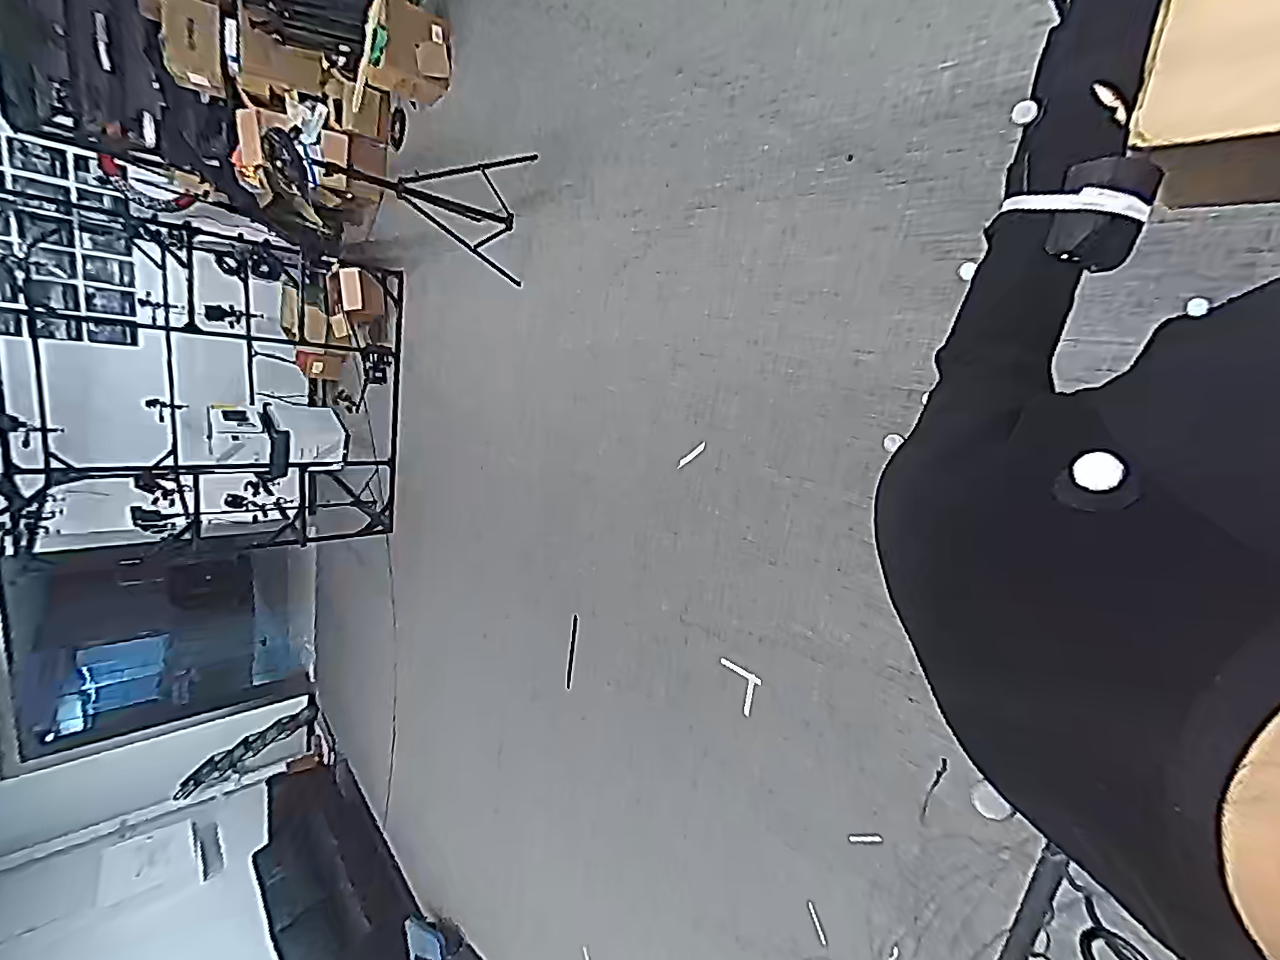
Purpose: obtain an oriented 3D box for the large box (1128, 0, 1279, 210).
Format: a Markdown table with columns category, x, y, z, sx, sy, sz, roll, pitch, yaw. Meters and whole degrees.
| category | x | y | z | sx | sy | sz | roll | pitch | yaw |
| --- | --- | --- | --- | --- | --- | --- | --- | --- | --- |
| large box | 0.596 | -0.364 | 0.309 | 0.408 | 0.320 | 0.320 | 20 | 116 | 43 |
